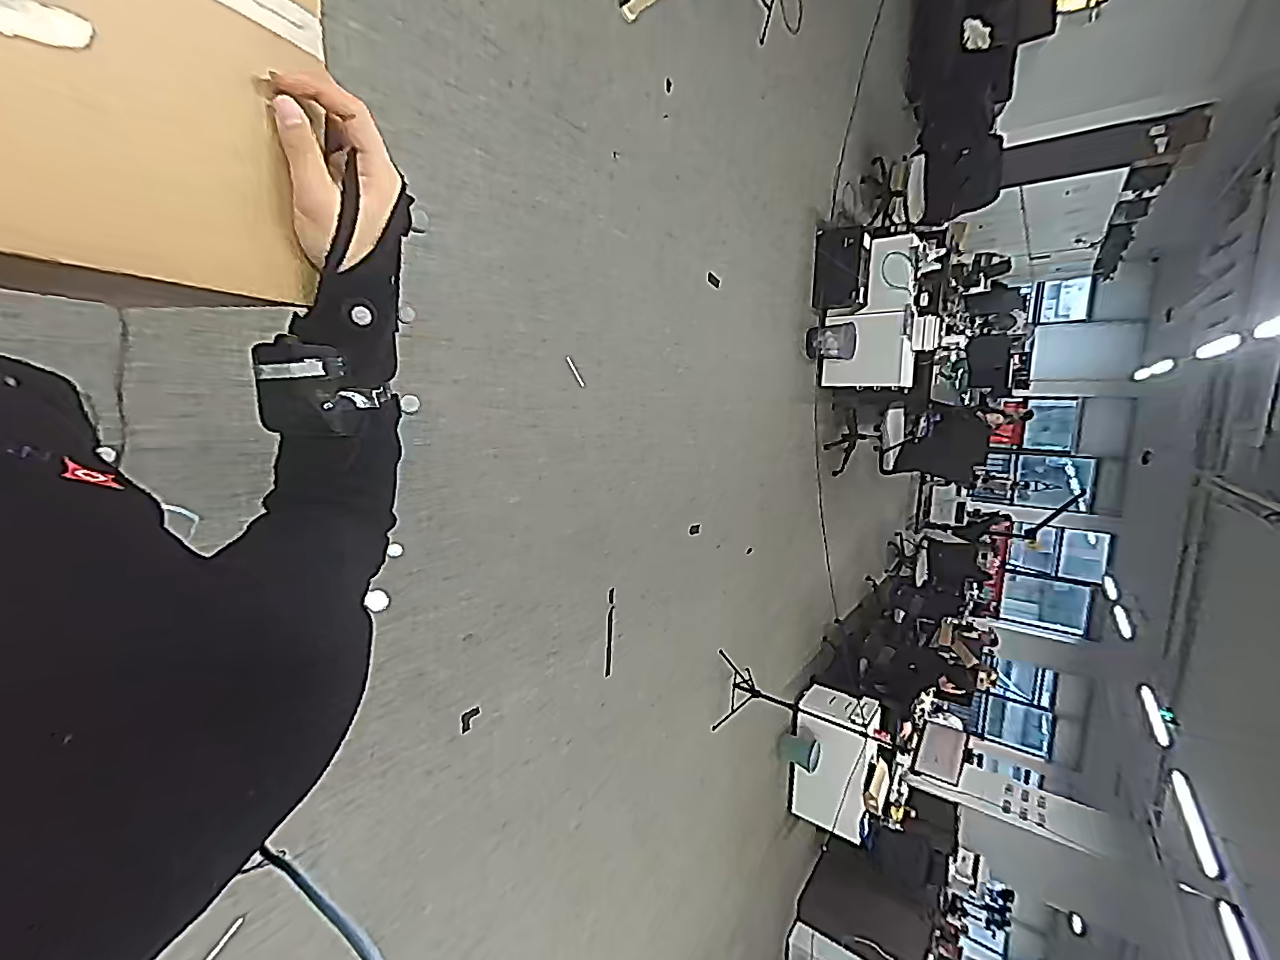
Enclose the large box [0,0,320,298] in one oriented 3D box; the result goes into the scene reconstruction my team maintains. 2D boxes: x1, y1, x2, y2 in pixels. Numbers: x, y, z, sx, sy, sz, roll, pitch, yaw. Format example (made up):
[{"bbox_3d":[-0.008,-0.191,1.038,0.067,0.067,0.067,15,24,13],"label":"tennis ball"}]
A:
[{"bbox_3d":[-0.434,-0.277,0.245,0.408,0.320,0.320,-10,109,-59],"label":"large box"}]
